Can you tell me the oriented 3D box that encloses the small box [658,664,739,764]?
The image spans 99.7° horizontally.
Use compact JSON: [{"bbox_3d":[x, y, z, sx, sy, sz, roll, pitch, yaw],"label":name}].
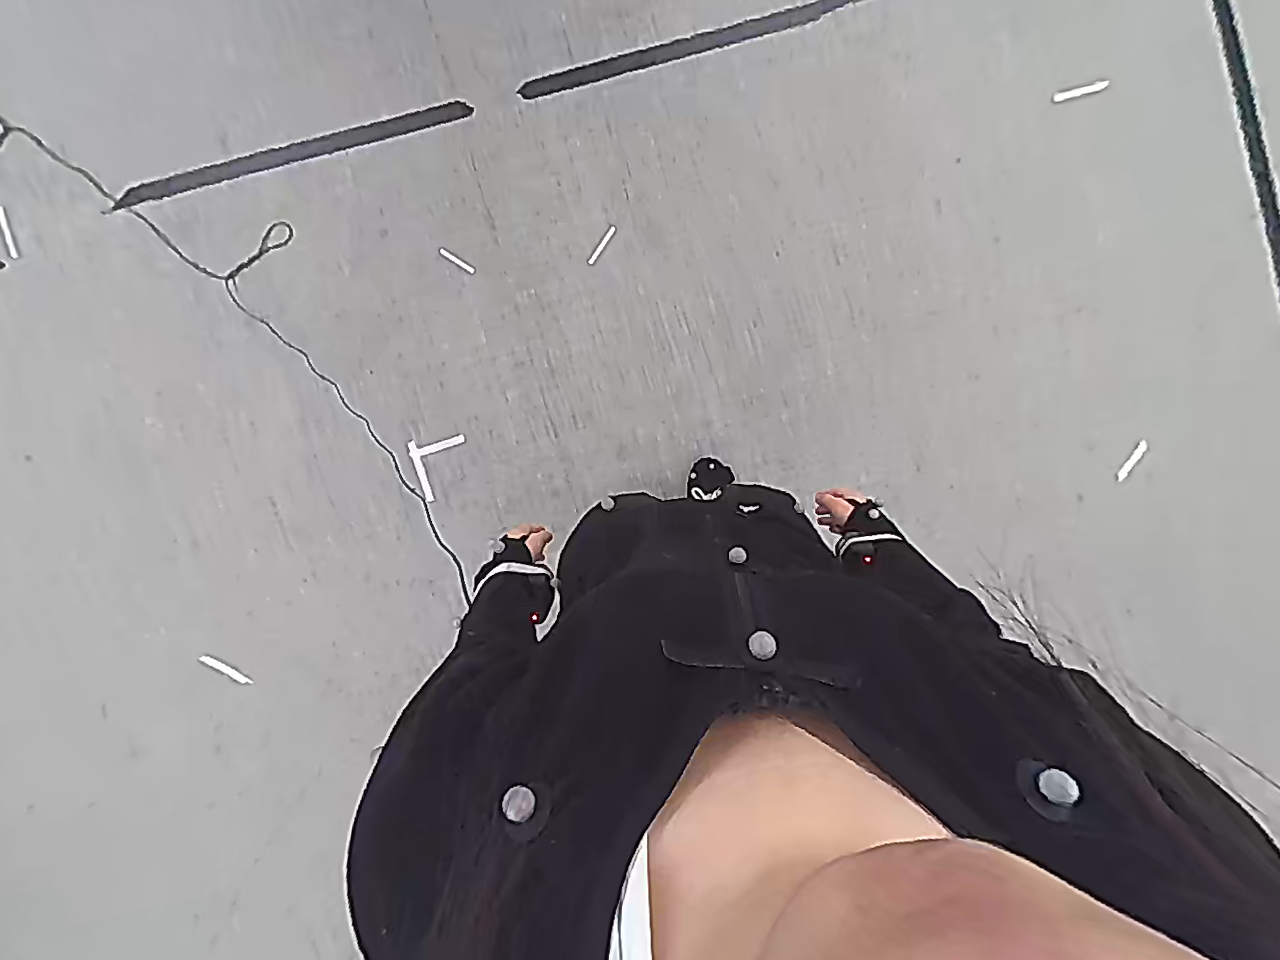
[{"bbox_3d":[0.151,0.617,1.455,0.168,0.176,0.179,-18,93,1],"label":"small box"}]
